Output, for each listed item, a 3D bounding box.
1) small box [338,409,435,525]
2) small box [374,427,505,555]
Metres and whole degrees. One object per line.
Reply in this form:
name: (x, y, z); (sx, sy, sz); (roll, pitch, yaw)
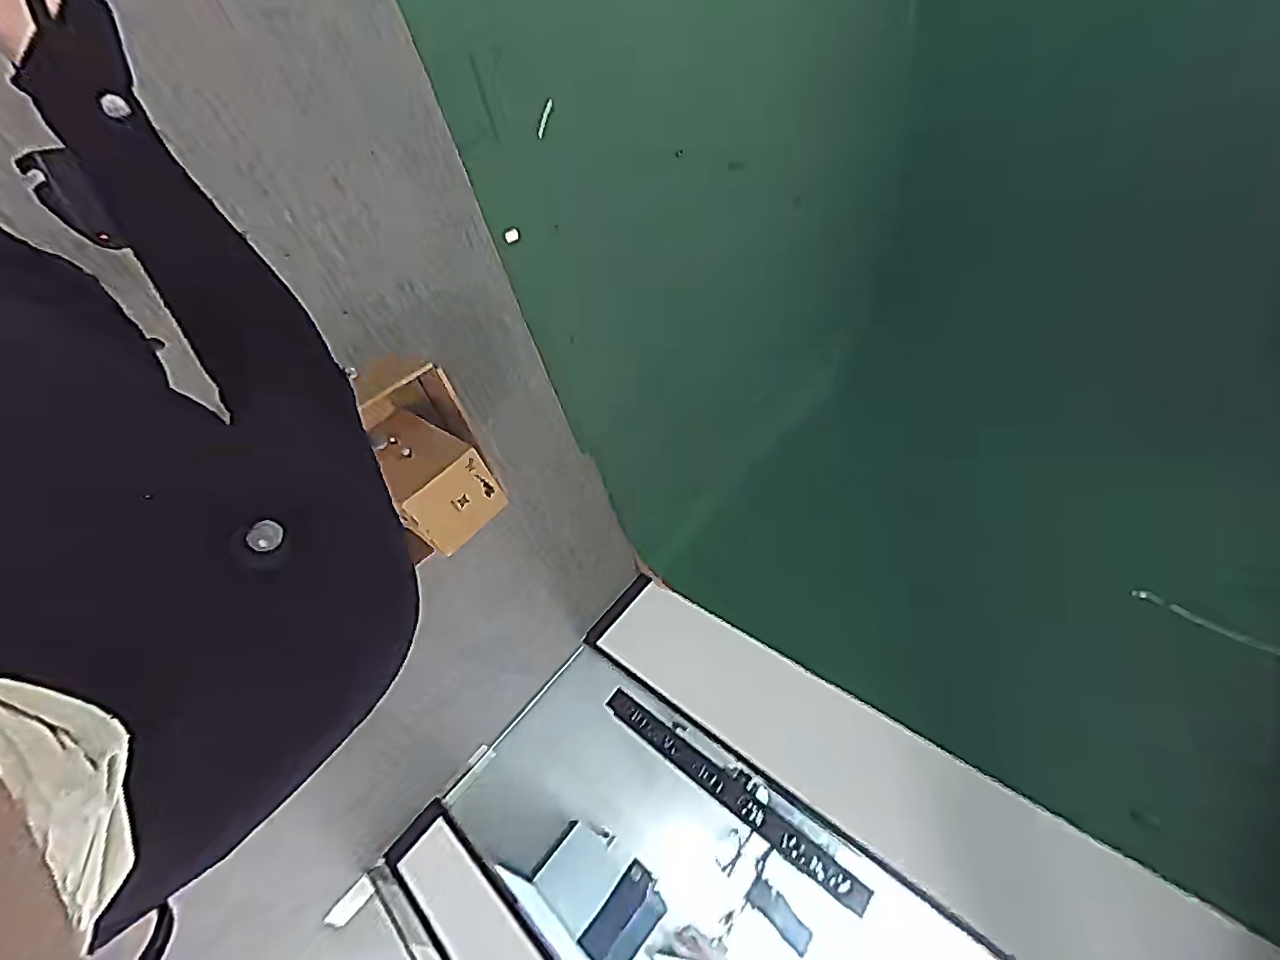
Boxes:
small box: (-0.538, -0.037, 1.225); (0.179, 0.176, 0.168); (-42, 136, -25)
small box: (-0.422, 0.017, 1.123); (0.179, 0.176, 0.168); (-44, 137, -24)
